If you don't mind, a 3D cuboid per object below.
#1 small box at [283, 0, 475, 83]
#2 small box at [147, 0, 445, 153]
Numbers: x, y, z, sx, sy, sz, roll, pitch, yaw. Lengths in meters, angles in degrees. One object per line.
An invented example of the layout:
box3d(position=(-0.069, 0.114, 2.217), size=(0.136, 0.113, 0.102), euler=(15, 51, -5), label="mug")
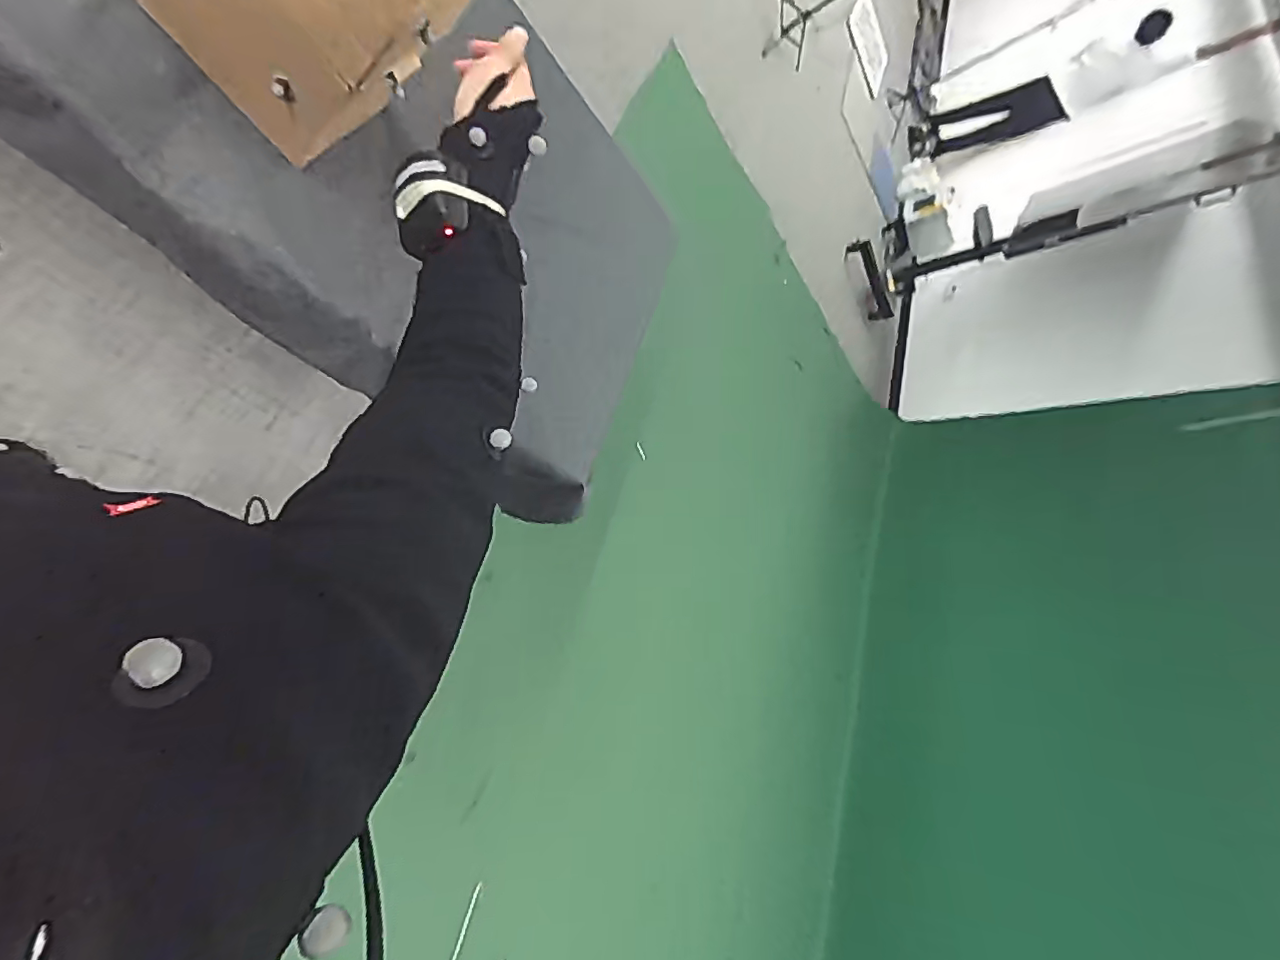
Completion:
box3d(position=(-0.227, -0.490, 0.453), size=(0.179, 0.176, 0.168), euler=(51, 51, -36), label="small box")
box3d(position=(-0.349, -0.477, 0.559), size=(0.179, 0.176, 0.168), euler=(48, 53, -34), label="small box")
